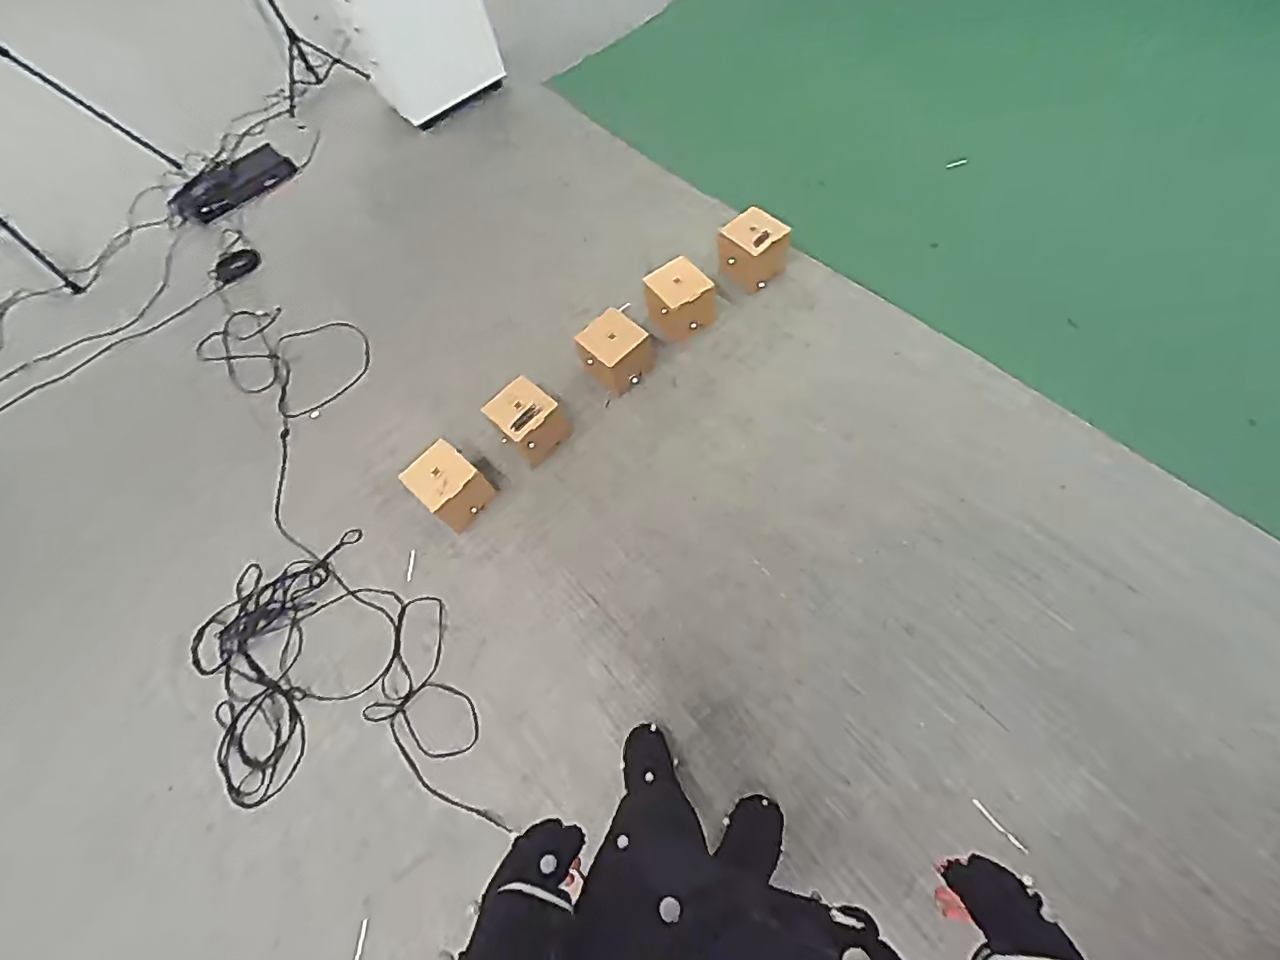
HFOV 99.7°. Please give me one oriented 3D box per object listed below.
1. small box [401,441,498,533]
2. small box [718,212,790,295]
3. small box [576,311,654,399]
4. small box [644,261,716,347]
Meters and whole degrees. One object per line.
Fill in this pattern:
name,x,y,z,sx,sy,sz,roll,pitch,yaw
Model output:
small box,-0.548,0.026,1.572,0.179,0.176,0.168,38,75,22
small box,0.385,-0.762,1.842,0.168,0.176,0.179,-38,64,-12
small box,-0.075,-0.391,1.717,0.168,0.176,0.179,-43,68,-12
small box,0.132,-0.576,1.783,0.168,0.176,0.179,-34,65,-10
